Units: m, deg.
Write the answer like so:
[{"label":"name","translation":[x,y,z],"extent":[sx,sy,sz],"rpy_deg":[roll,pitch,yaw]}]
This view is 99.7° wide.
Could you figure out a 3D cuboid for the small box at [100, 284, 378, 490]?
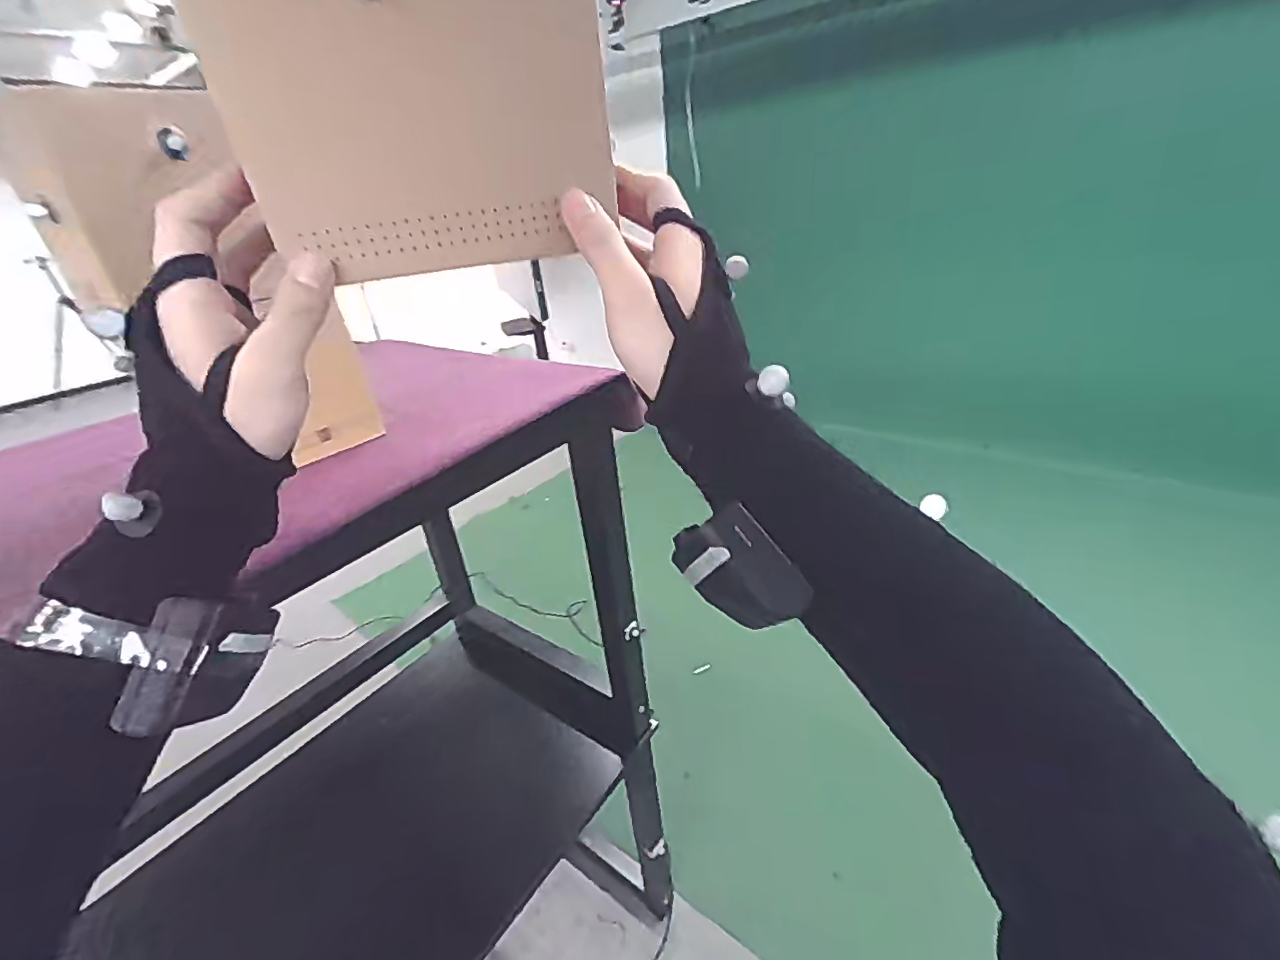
[{"label":"small box","translation":[-0.416,-0.106,0.579],"extent":[0.179,0.176,0.168],"rpy_deg":[16,36,38]}]

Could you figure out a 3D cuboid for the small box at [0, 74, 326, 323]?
[{"label":"small box","translation":[-0.430,-0.246,0.496],"extent":[0.168,0.176,0.179],"rpy_deg":[15,35,35]}]

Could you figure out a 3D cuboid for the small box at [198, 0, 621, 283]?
[{"label":"small box","translation":[-0.118,-0.221,0.314],"extent":[0.179,0.176,0.168],"rpy_deg":[-11,32,-9]}]
